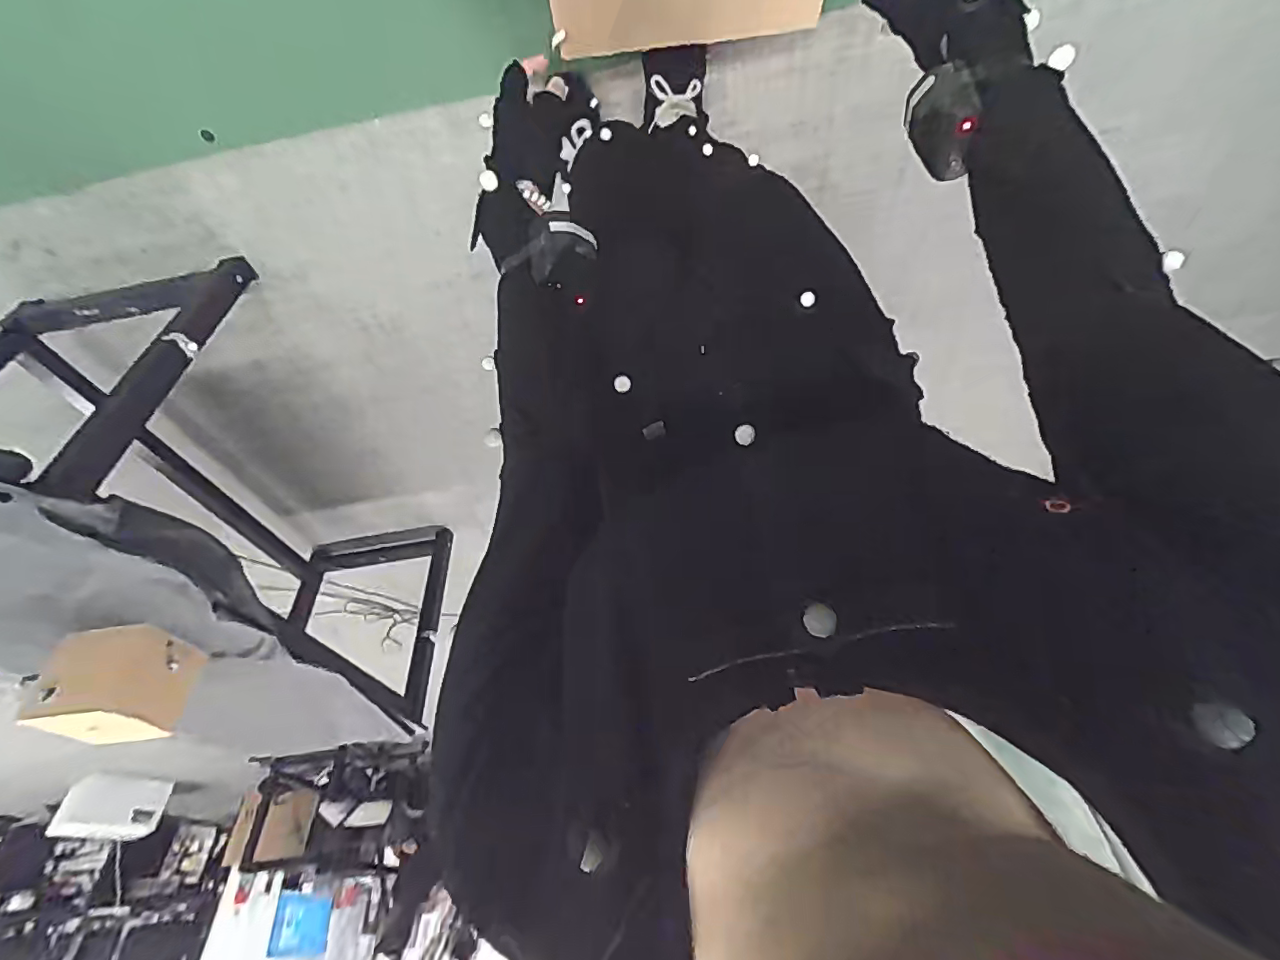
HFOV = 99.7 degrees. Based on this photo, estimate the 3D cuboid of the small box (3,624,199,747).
[{"bbox_3d":[-1.019,0.396,1.044,0.179,0.176,0.168,-8,140,3],"label":"small box"}]
